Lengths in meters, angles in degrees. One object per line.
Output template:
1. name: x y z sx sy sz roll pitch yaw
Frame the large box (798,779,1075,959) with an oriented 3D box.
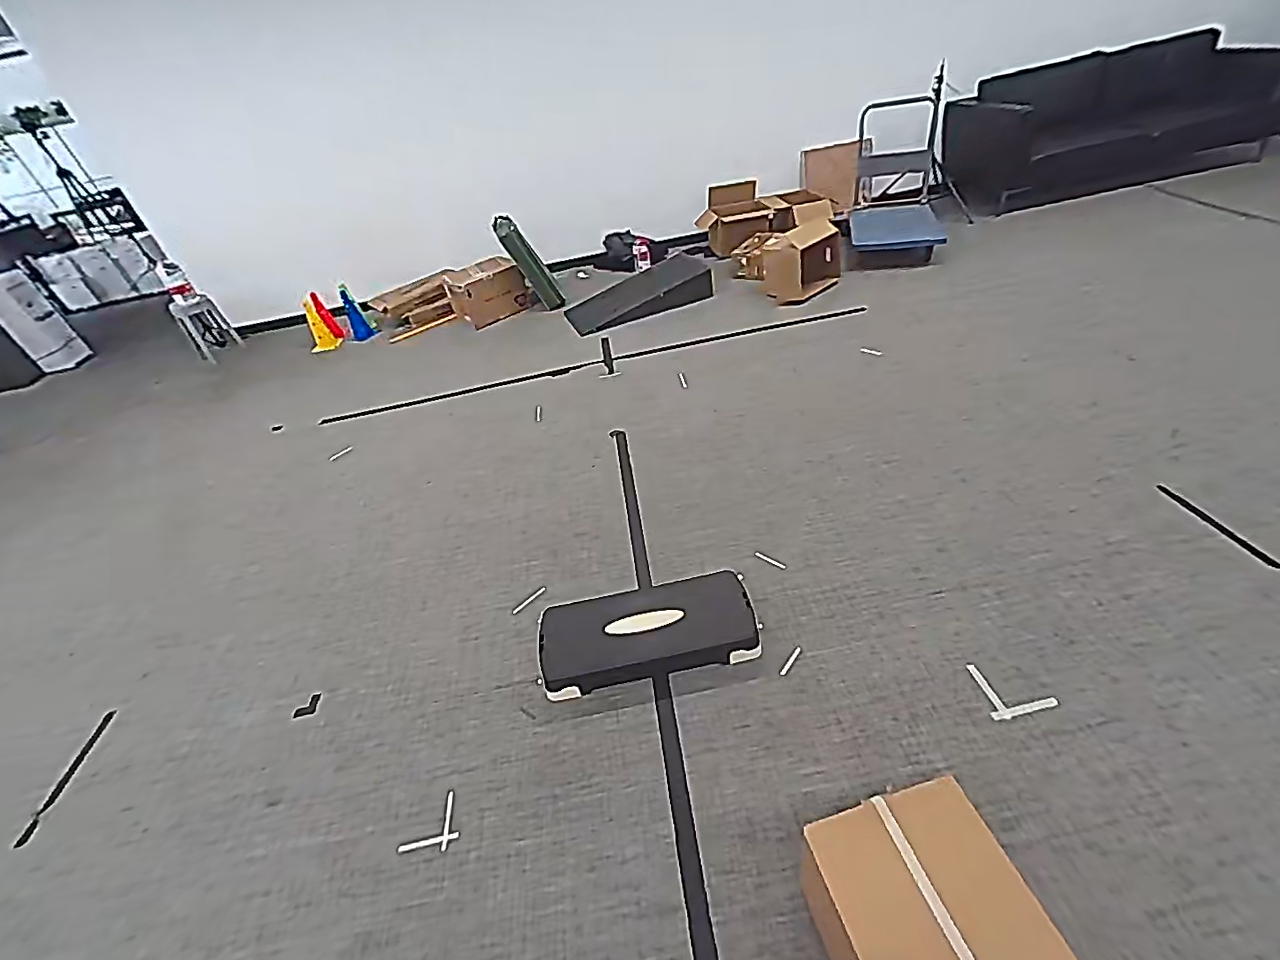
1. large box: 0.520 0.842 0.968 0.320 0.320 0.408 -16 39 -5
